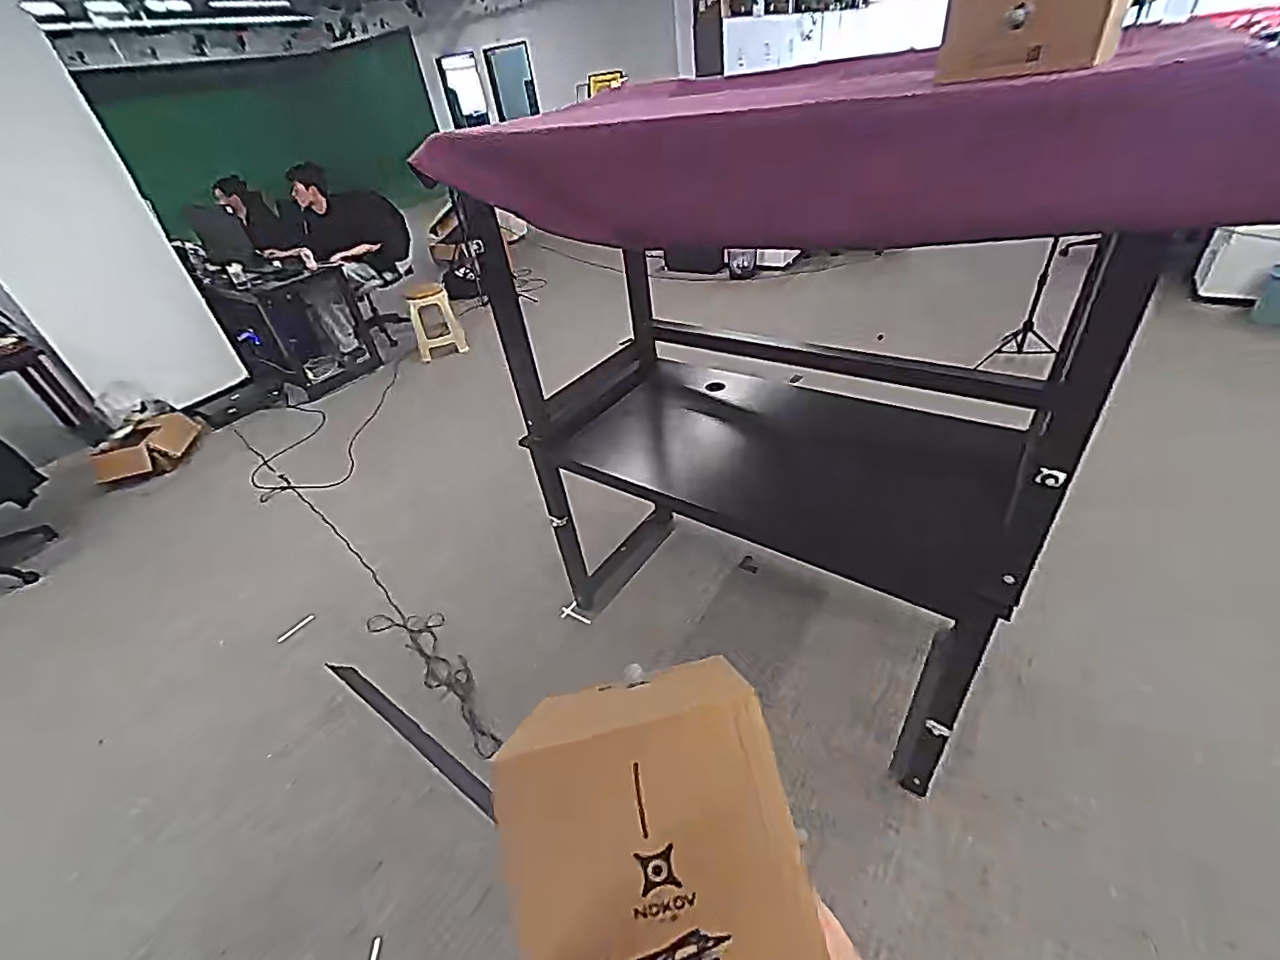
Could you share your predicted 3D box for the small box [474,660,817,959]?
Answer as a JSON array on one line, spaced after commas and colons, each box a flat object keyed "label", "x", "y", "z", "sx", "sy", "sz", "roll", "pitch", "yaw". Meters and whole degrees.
[{"label": "small box", "x": 0.004, "y": 0.239, "z": 0.373, "sx": 0.168, "sy": 0.176, "sz": 0.179, "roll": -14, "pitch": 78, "yaw": -3}]

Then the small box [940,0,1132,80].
[{"label": "small box", "x": 0.471, "y": -0.579, "z": 0.627, "sx": 0.168, "sy": 0.176, "sz": 0.179, "roll": 21, "pitch": 46, "yaw": 35}]
